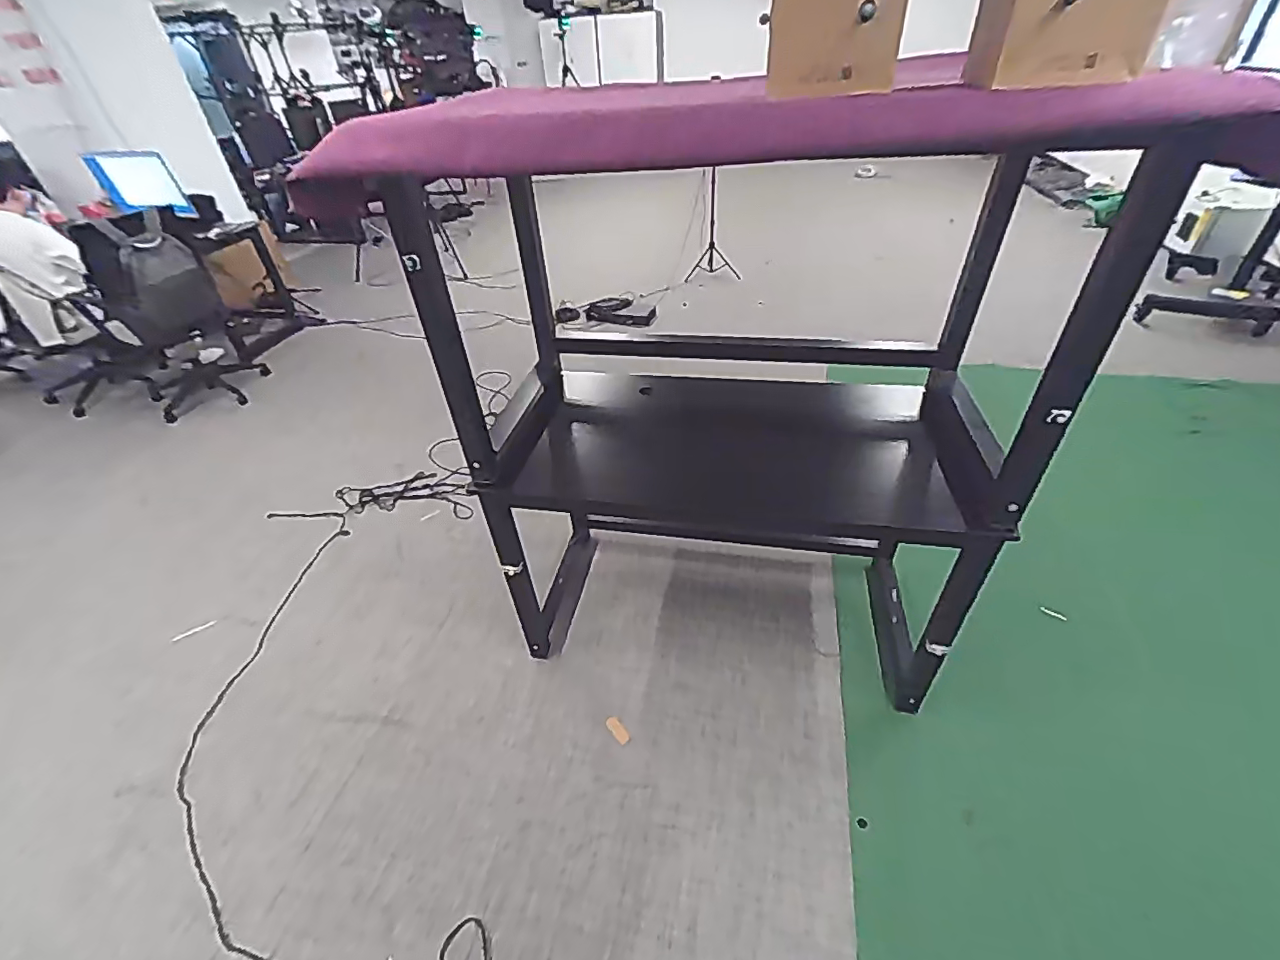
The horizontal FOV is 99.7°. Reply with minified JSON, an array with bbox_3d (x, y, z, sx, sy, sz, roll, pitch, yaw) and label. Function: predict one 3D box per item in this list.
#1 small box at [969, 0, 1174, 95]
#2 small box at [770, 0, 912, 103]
[{"bbox_3d":[0.549,-0.600,0.689,0.168,0.176,0.179,5,39,12],"label":"small box"},{"bbox_3d":[0.275,-0.629,0.750,0.168,0.176,0.179,6,38,11],"label":"small box"}]
